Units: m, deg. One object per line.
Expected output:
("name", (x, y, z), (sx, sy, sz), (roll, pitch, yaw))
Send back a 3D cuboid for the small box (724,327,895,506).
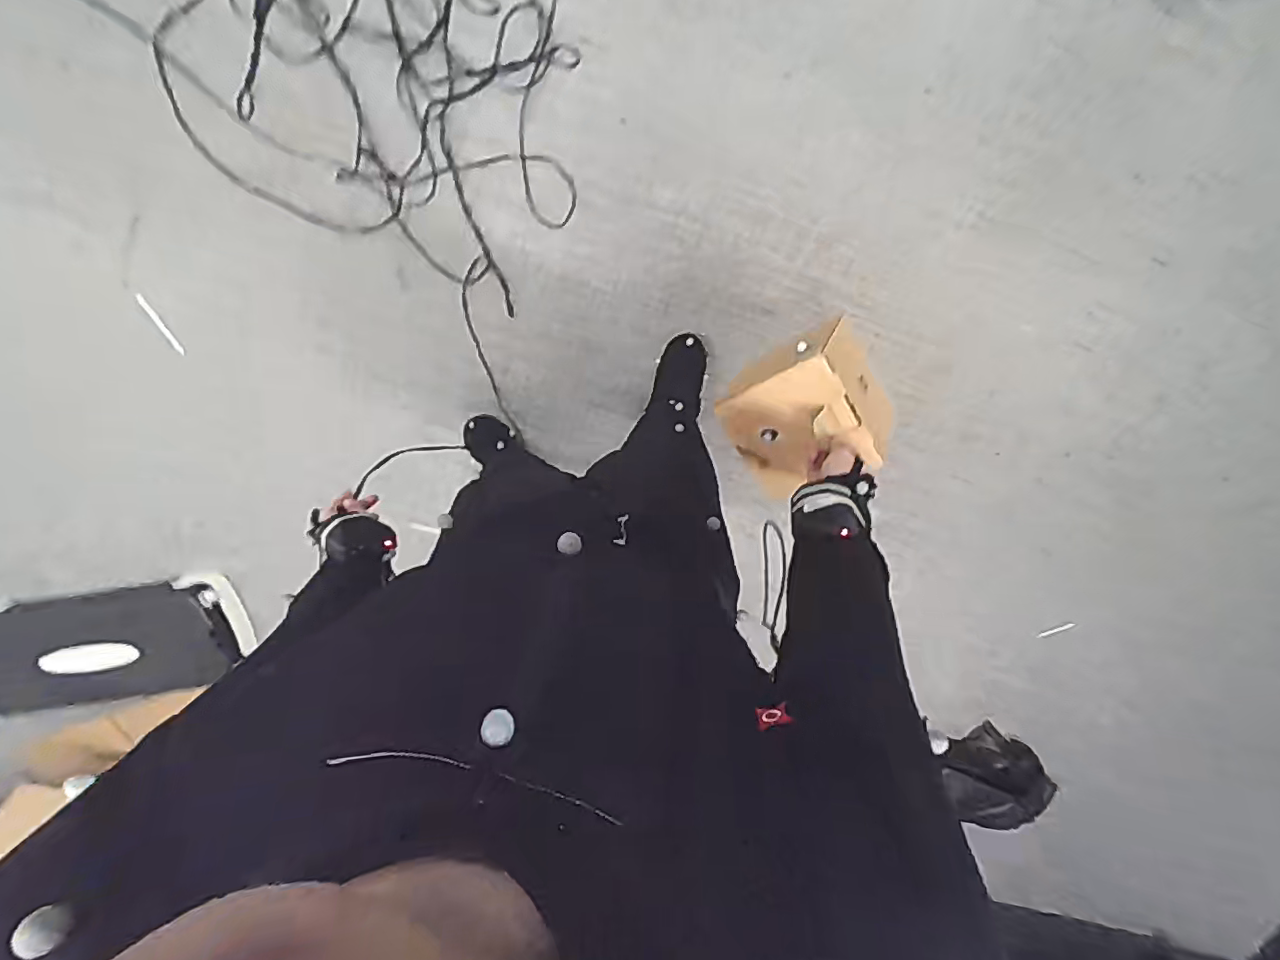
("small box", (0.242, -0.088, 0.773), (0.176, 0.179, 0.168), (-23, 106, 37))
